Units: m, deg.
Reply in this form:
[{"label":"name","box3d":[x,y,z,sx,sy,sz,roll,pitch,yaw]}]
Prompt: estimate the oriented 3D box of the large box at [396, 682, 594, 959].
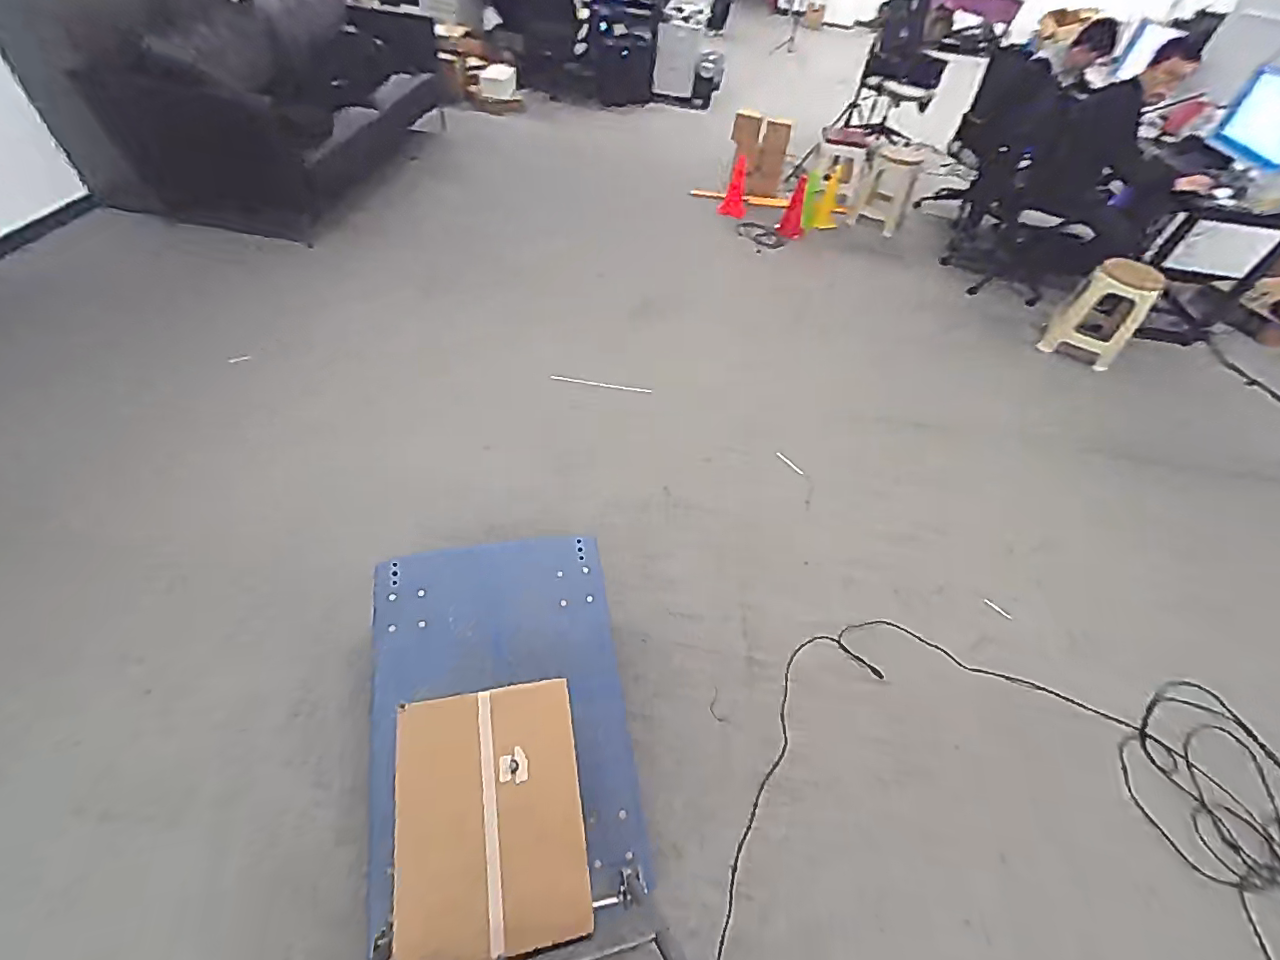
[{"label":"large box","box3d":[-0.280,0.657,1.078,0.320,0.320,0.408,-5,62,-12]}]
